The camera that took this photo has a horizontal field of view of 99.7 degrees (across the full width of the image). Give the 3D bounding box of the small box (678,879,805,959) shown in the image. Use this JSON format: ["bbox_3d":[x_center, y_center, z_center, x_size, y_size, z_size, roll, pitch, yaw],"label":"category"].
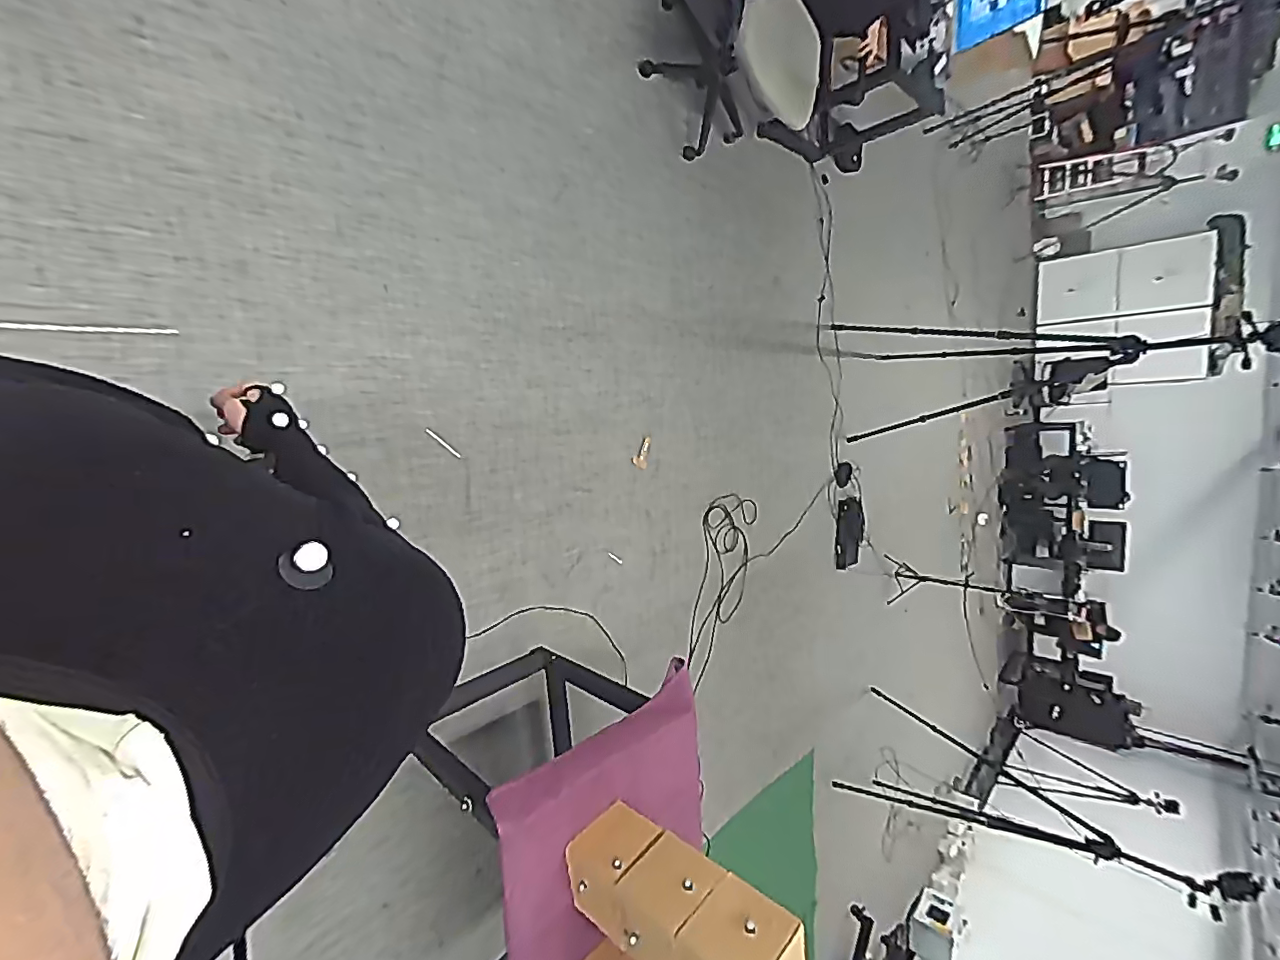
[{"bbox_3d":[0.191,0.904,1.004,0.179,0.176,0.168,-16,104,-44],"label":"small box"}]

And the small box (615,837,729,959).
[{"bbox_3d":[0.073,0.896,1.118,0.179,0.176,0.168,-19,106,-42],"label":"small box"}]

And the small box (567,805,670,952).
[{"bbox_3d":[-0.041,0.893,1.236,0.179,0.176,0.168,-18,105,-42],"label":"small box"}]
